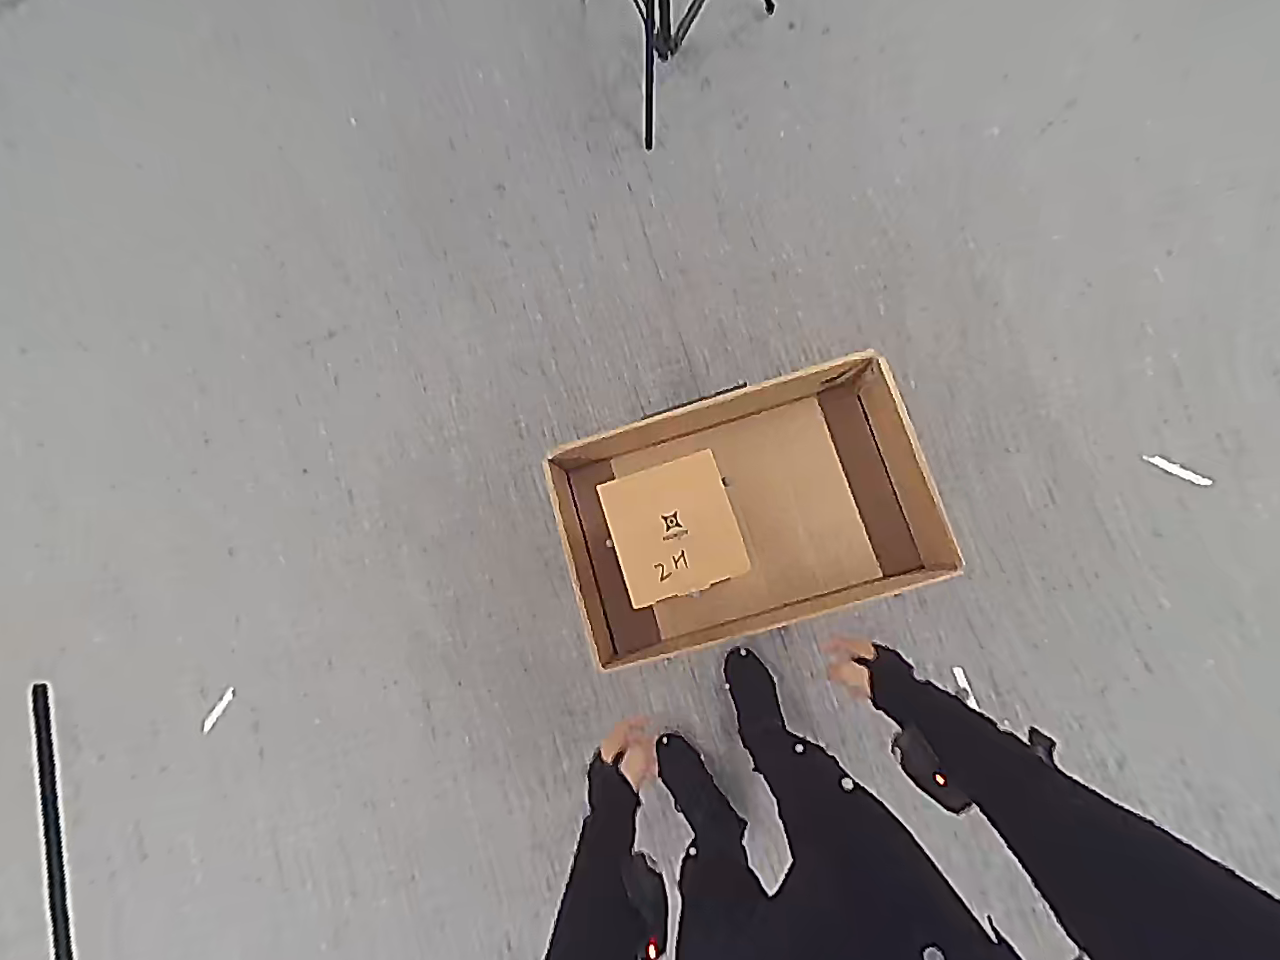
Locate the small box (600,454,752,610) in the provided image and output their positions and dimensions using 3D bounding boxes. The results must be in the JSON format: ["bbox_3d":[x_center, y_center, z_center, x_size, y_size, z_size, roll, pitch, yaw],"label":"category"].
[{"bbox_3d":[0.053,0.081,0.801,0.168,0.176,0.179,-18,80,3],"label":"small box"}]
